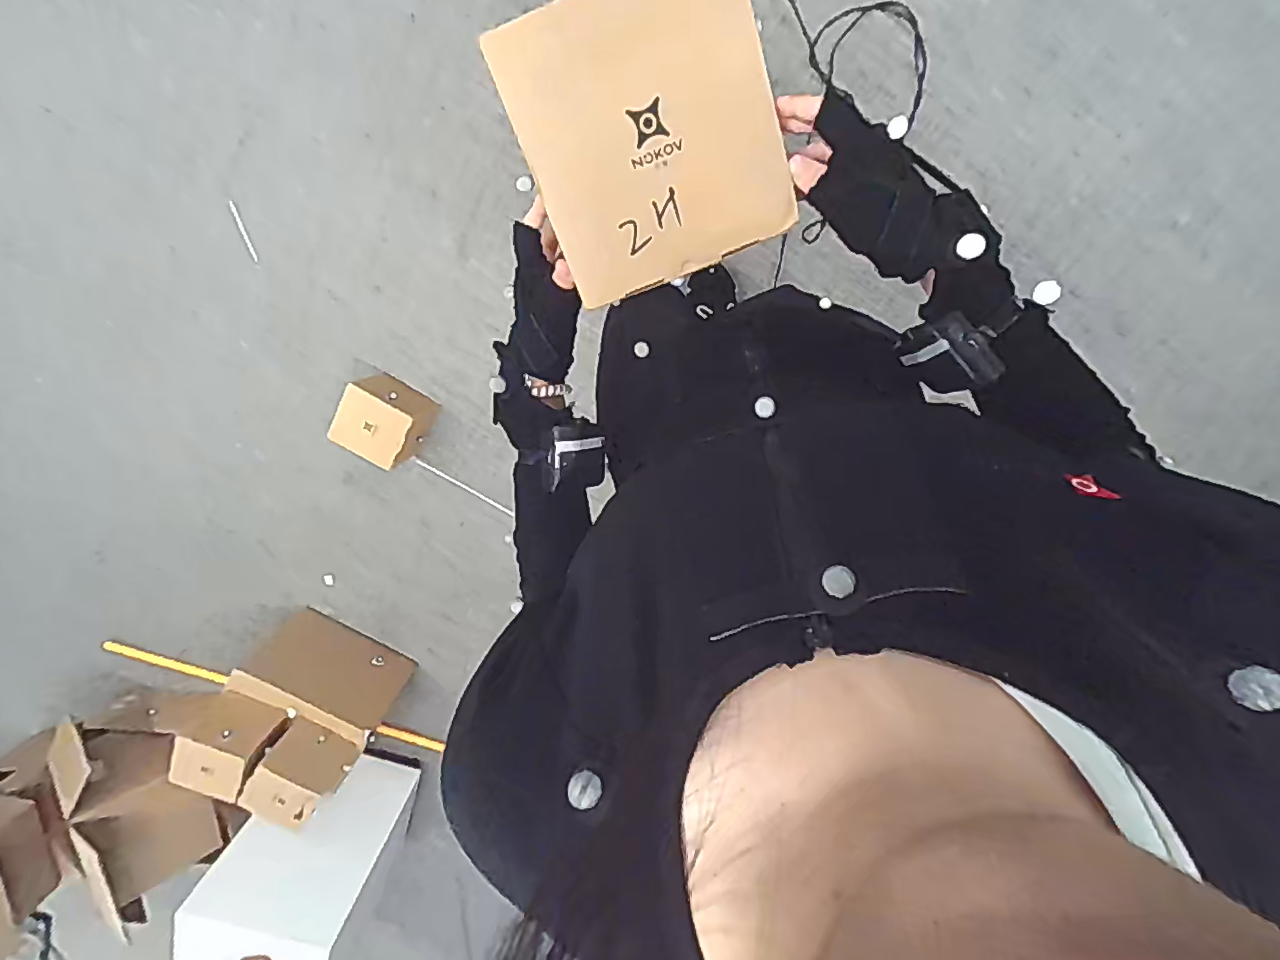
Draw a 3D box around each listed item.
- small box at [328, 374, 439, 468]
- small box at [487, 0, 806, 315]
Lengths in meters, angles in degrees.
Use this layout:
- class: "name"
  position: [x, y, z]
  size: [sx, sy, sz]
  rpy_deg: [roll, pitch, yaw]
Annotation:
- class: "small box"
  position: [-0.660, -0.162, 1.409]
  size: [0.179, 0.176, 0.168]
  rpy_deg: [30, 109, -9]
- class: "small box"
  position: [0.006, -0.247, 0.423]
  size: [0.168, 0.176, 0.179]
  rpy_deg: [-20, 112, 6]
